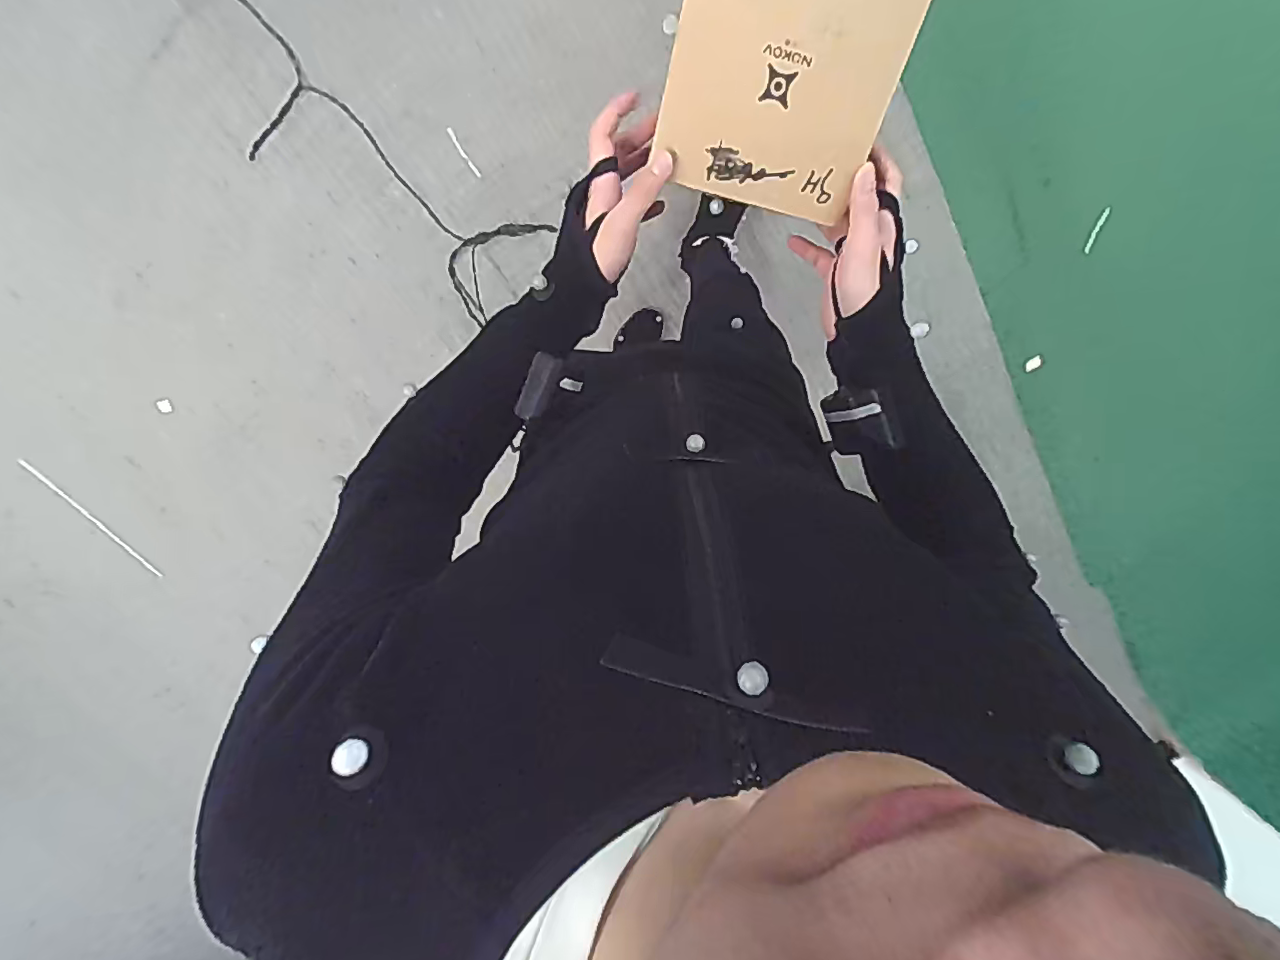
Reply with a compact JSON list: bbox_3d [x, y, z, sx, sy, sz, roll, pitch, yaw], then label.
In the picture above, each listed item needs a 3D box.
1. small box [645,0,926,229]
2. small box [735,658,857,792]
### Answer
[{"bbox_3d":[0.103,-0.335,0.459,0.168,0.176,0.179,13,121,-5],"label":"small box"},{"bbox_3d":[0.322,0.508,1.150,0.168,0.176,0.179,-30,108,7],"label":"small box"}]
